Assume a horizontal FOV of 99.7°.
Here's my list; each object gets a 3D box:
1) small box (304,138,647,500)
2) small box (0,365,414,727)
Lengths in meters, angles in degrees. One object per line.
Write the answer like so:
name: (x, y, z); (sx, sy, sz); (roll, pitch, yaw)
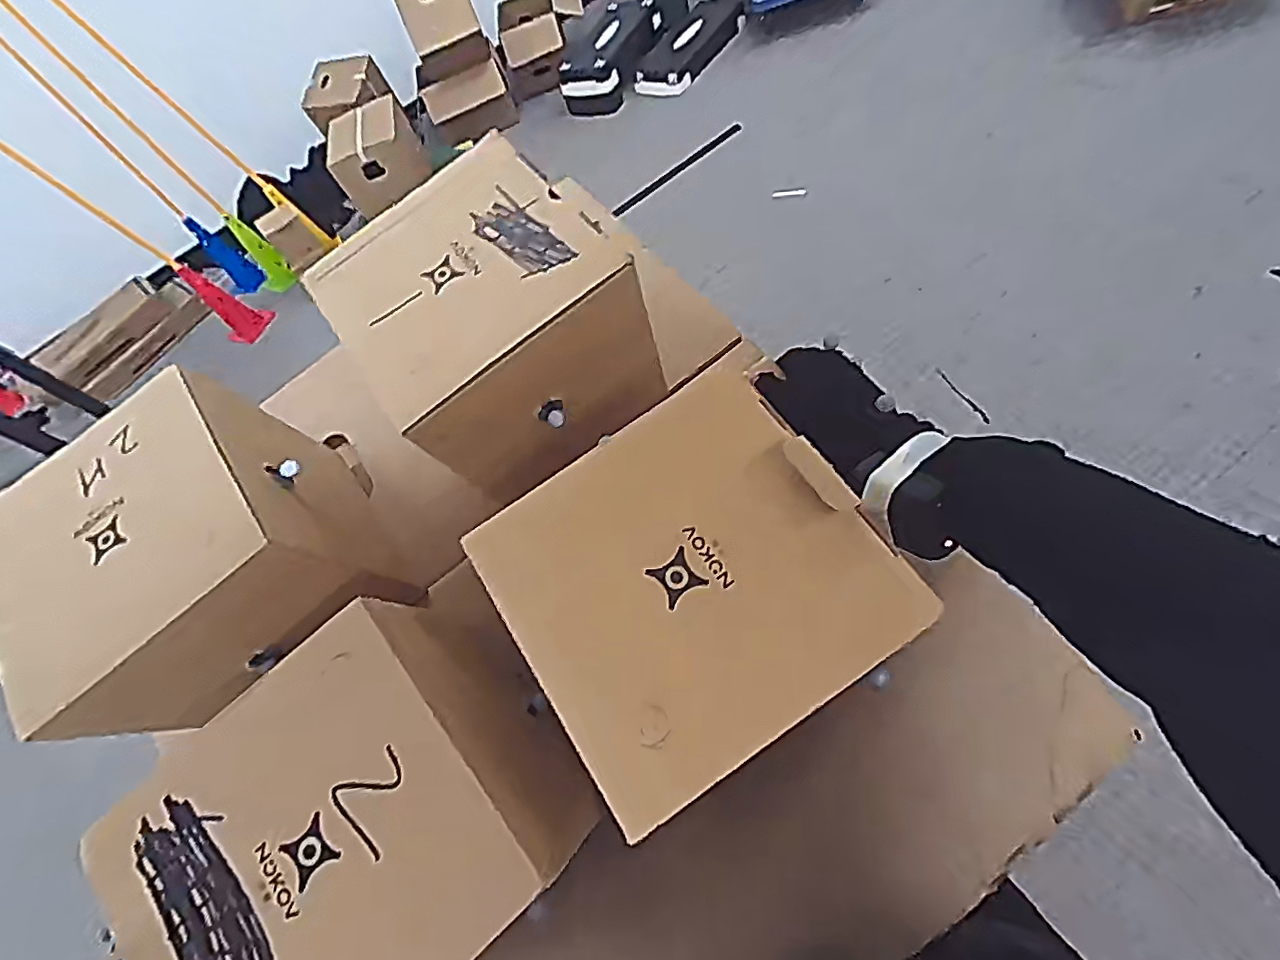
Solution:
small box: (-0.109, -0.113, 0.431); (0.179, 0.176, 0.168); (-37, 68, -3)
small box: (-0.311, 0.055, 0.412); (0.168, 0.176, 0.179); (-40, 67, -5)
